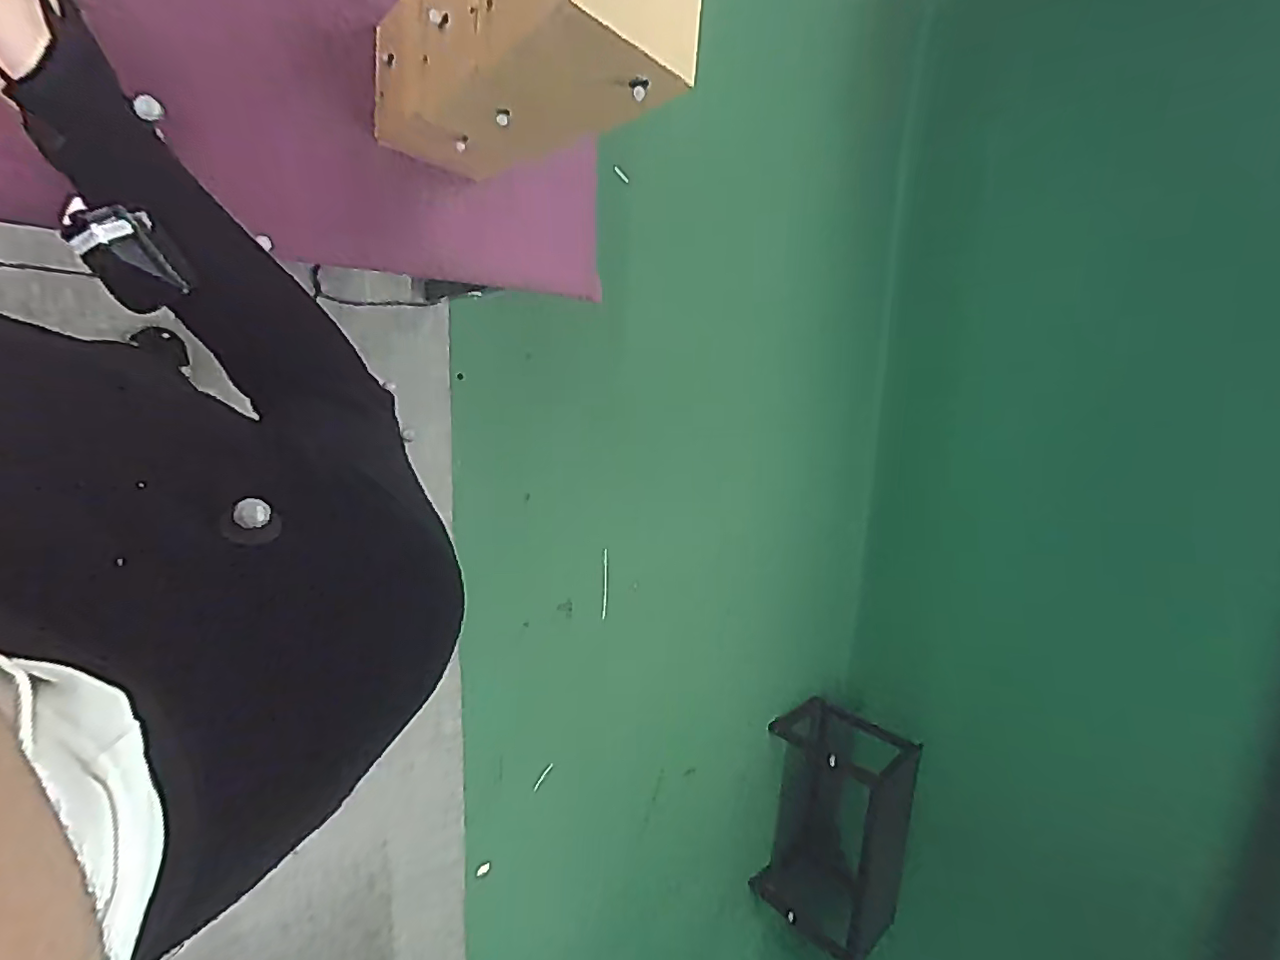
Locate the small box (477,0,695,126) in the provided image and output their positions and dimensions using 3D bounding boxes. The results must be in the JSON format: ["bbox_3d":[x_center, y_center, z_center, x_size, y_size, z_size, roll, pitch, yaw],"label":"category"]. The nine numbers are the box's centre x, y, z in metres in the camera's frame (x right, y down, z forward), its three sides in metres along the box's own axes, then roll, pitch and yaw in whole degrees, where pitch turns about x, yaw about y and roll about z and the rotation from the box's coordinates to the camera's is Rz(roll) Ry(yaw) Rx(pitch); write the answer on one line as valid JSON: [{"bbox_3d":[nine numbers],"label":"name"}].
[{"bbox_3d":[-0.058,-0.525,0.597,0.179,0.176,0.168,-3,101,-43],"label":"small box"}]

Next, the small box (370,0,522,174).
[{"bbox_3d":[-0.289,-0.591,0.823,0.179,0.176,0.168,-3,102,-44],"label":"small box"}]
